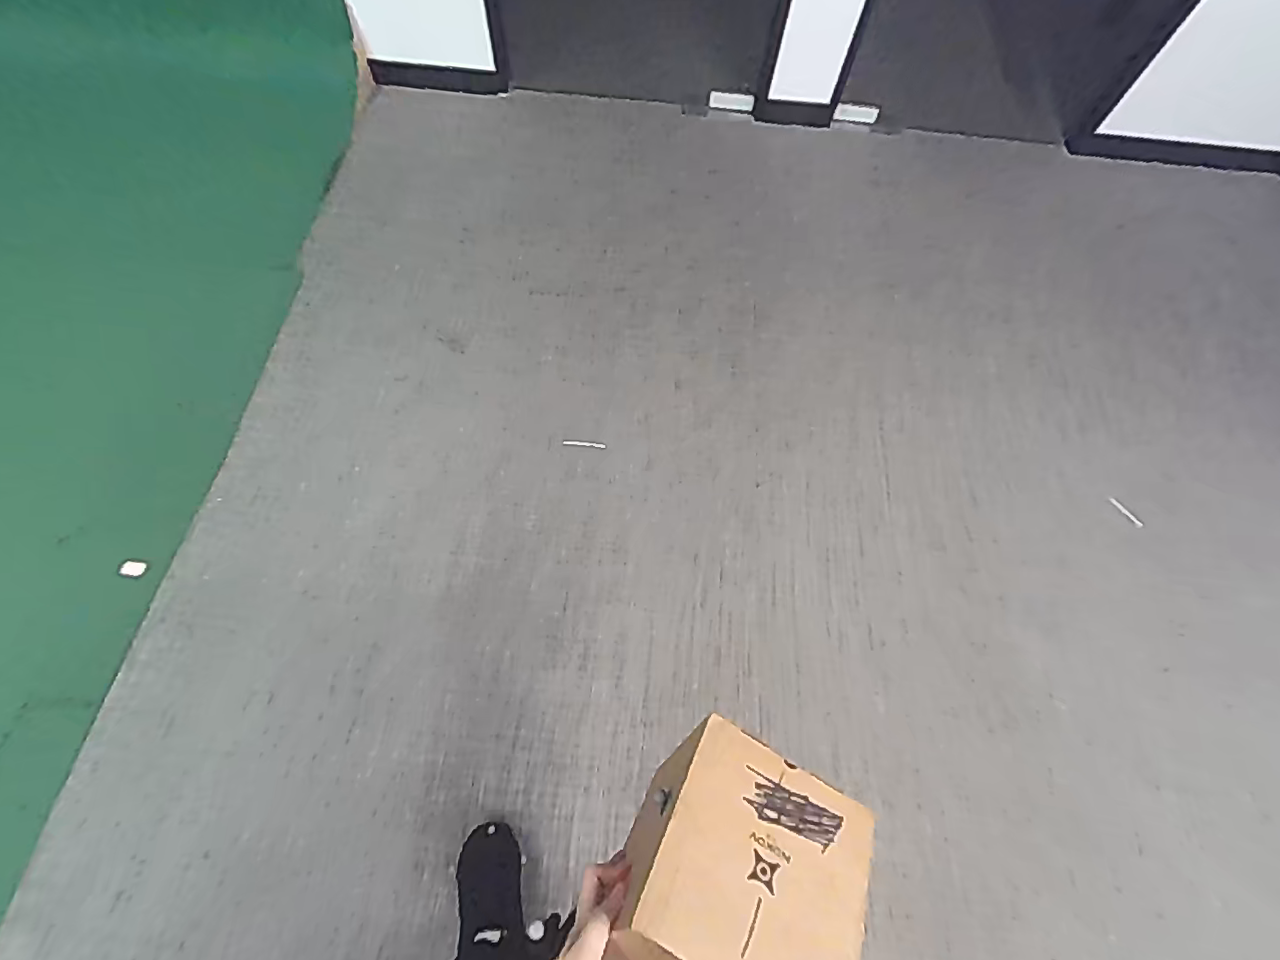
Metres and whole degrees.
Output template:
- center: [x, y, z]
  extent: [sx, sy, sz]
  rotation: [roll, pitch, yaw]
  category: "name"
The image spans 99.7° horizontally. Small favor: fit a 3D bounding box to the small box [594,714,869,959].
- center: [0.077, 0.358, 0.487]
  extent: [0.168, 0.176, 0.179]
  rotation: [30, 42, 8]
  category: "small box"
